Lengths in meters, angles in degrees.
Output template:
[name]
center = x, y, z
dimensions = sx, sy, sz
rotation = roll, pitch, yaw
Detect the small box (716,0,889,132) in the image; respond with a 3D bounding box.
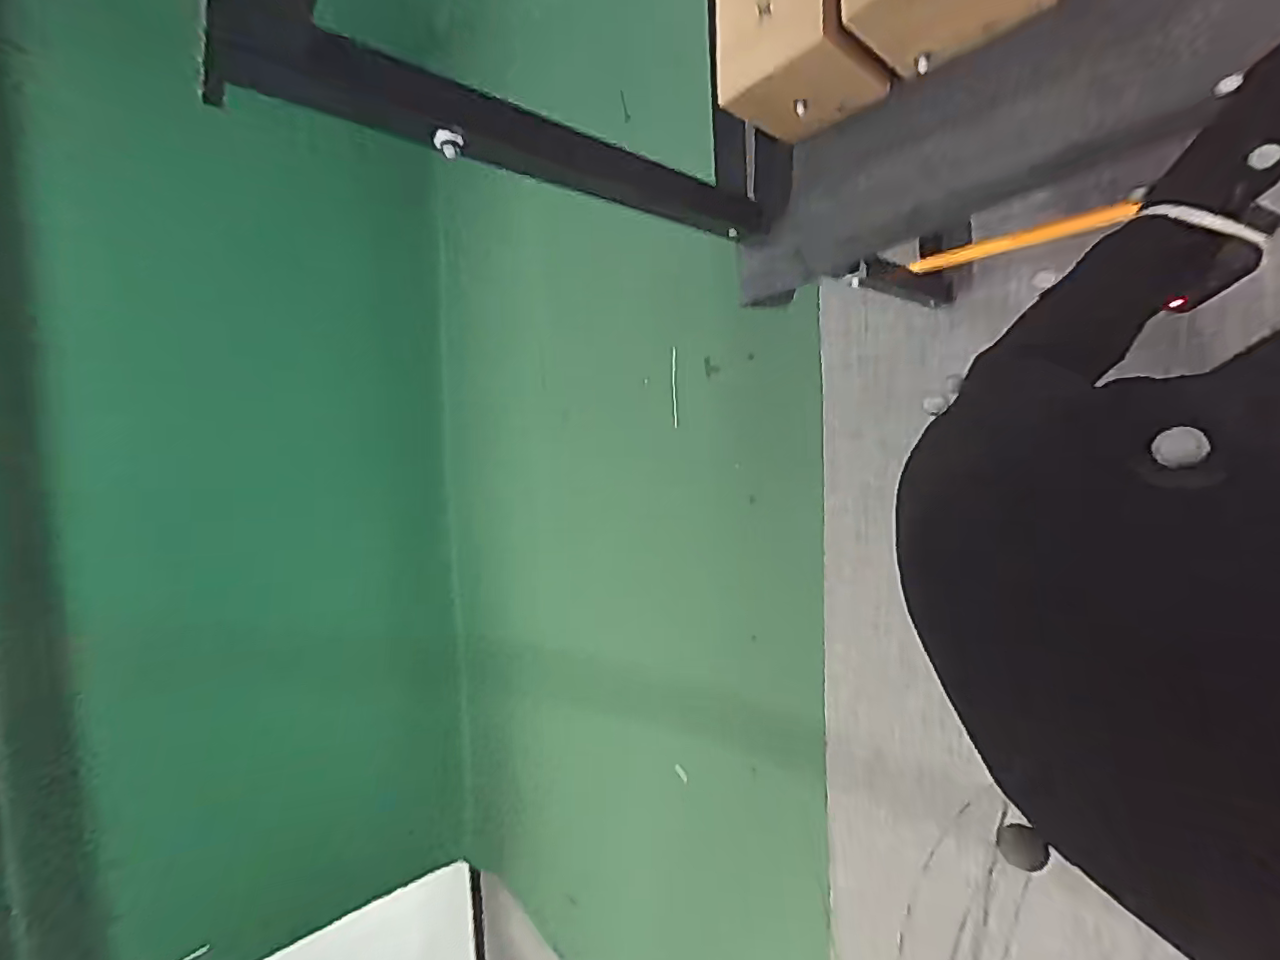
[small box]
center = 0.220, -0.608, 0.733
dimensions = 0.168, 0.176, 0.179
rotation = 5, 97, 49
